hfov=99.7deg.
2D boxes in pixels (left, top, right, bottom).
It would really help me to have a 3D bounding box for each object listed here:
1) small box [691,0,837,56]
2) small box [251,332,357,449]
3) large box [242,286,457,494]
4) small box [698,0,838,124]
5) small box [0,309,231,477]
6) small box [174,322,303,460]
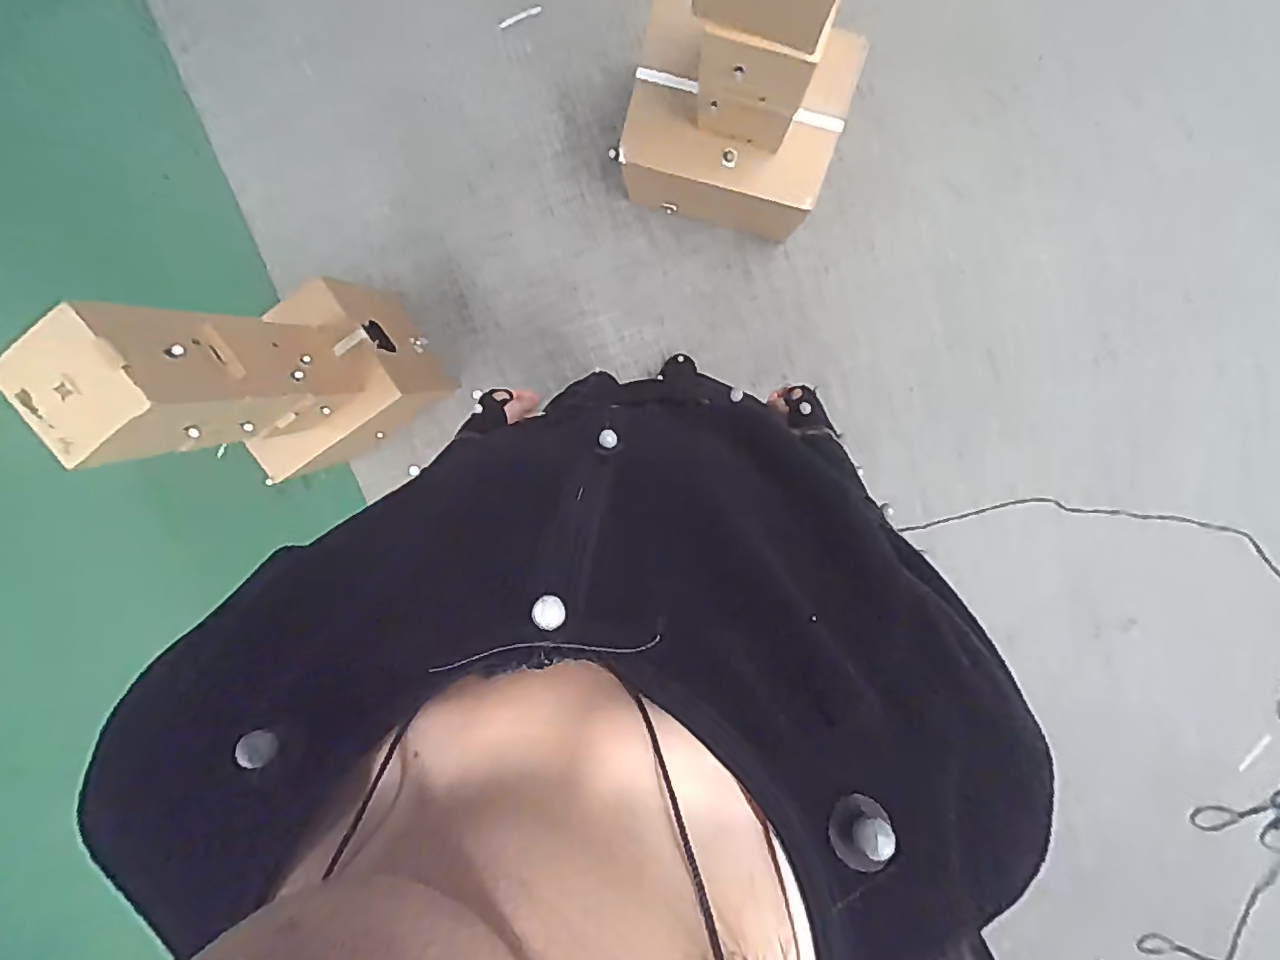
[{"bbox_3d":[0.166,-0.640,0.625,0.179,0.176,0.168,18,100,1],"label":"small box"},{"bbox_3d":[-0.736,-0.189,1.125,0.168,0.176,0.179,-31,97,9],"label":"small box"},{"bbox_3d":[-0.759,-0.226,1.369,0.408,0.320,0.320,-32,96,11],"label":"large box"},{"bbox_3d":[0.188,-0.662,0.788,0.168,0.176,0.179,17,100,1],"label":"small box"},{"bbox_3d":[-0.763,-0.129,0.803,0.179,0.176,0.168,-32,97,9],"label":"small box"},{"bbox_3d":[-0.747,-0.161,0.964,0.179,0.176,0.168,-32,98,10],"label":"small box"}]
